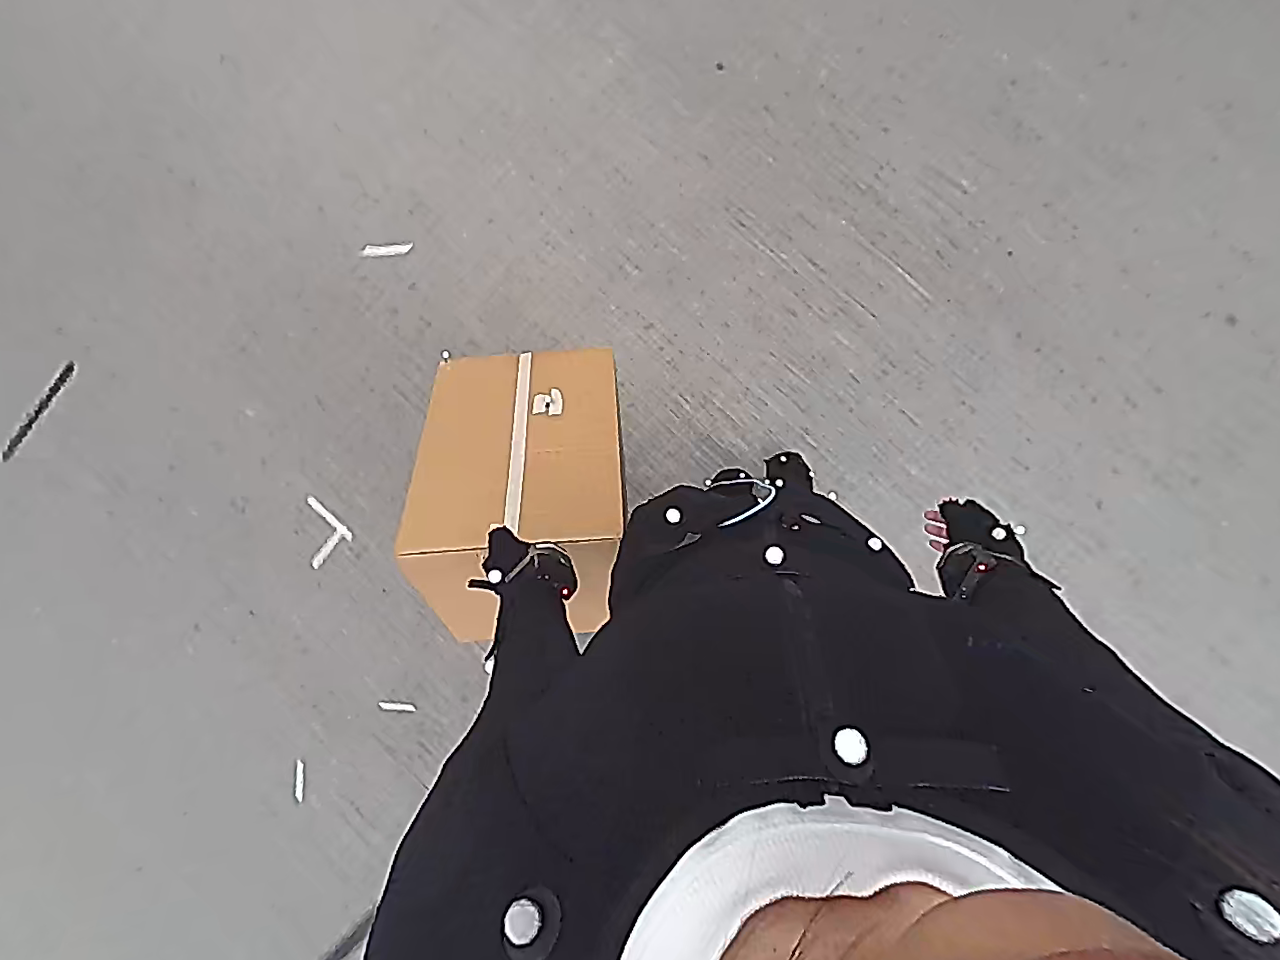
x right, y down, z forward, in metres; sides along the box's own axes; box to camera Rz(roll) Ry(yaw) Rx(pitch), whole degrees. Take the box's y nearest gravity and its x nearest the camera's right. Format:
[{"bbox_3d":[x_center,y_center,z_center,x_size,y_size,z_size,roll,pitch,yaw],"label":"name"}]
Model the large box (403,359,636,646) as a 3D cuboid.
[{"bbox_3d":[-0.184,0.040,0.981,0.320,0.320,0.408,-5,51,-1],"label":"large box"}]
